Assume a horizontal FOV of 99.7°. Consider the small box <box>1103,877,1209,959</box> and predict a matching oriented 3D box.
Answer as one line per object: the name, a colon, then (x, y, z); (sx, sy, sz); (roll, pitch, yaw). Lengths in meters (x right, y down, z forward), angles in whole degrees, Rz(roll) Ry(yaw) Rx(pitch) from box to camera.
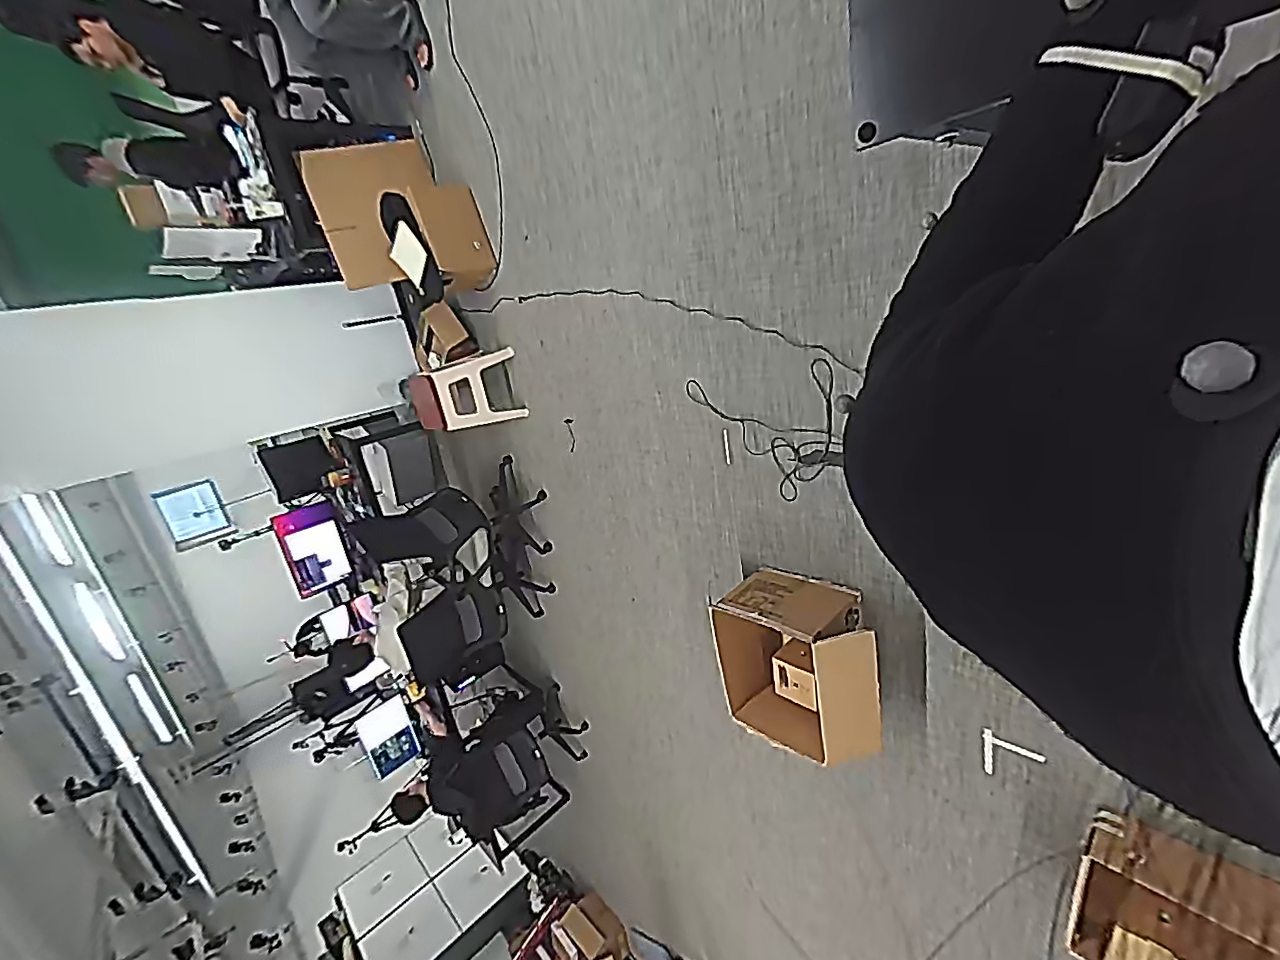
small box: (1.311, 1.175, 1.375); (0.168, 0.176, 0.179); (15, 119, 44)
